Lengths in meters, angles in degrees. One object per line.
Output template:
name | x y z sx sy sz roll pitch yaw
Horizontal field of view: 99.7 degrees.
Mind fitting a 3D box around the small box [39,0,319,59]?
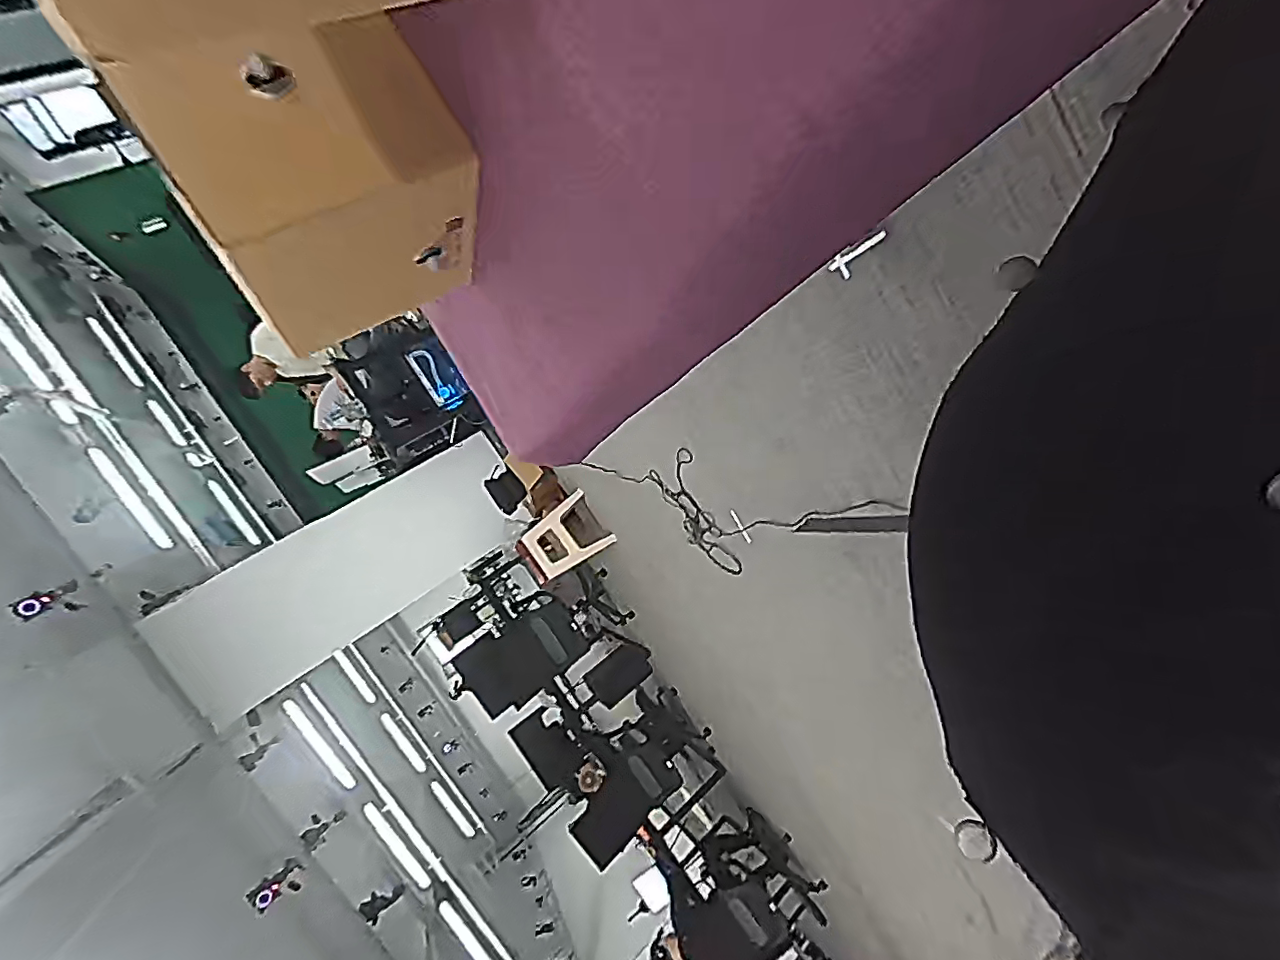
small box | -0.139 -0.265 0.130 0.179 0.176 0.168 58 158 -5
